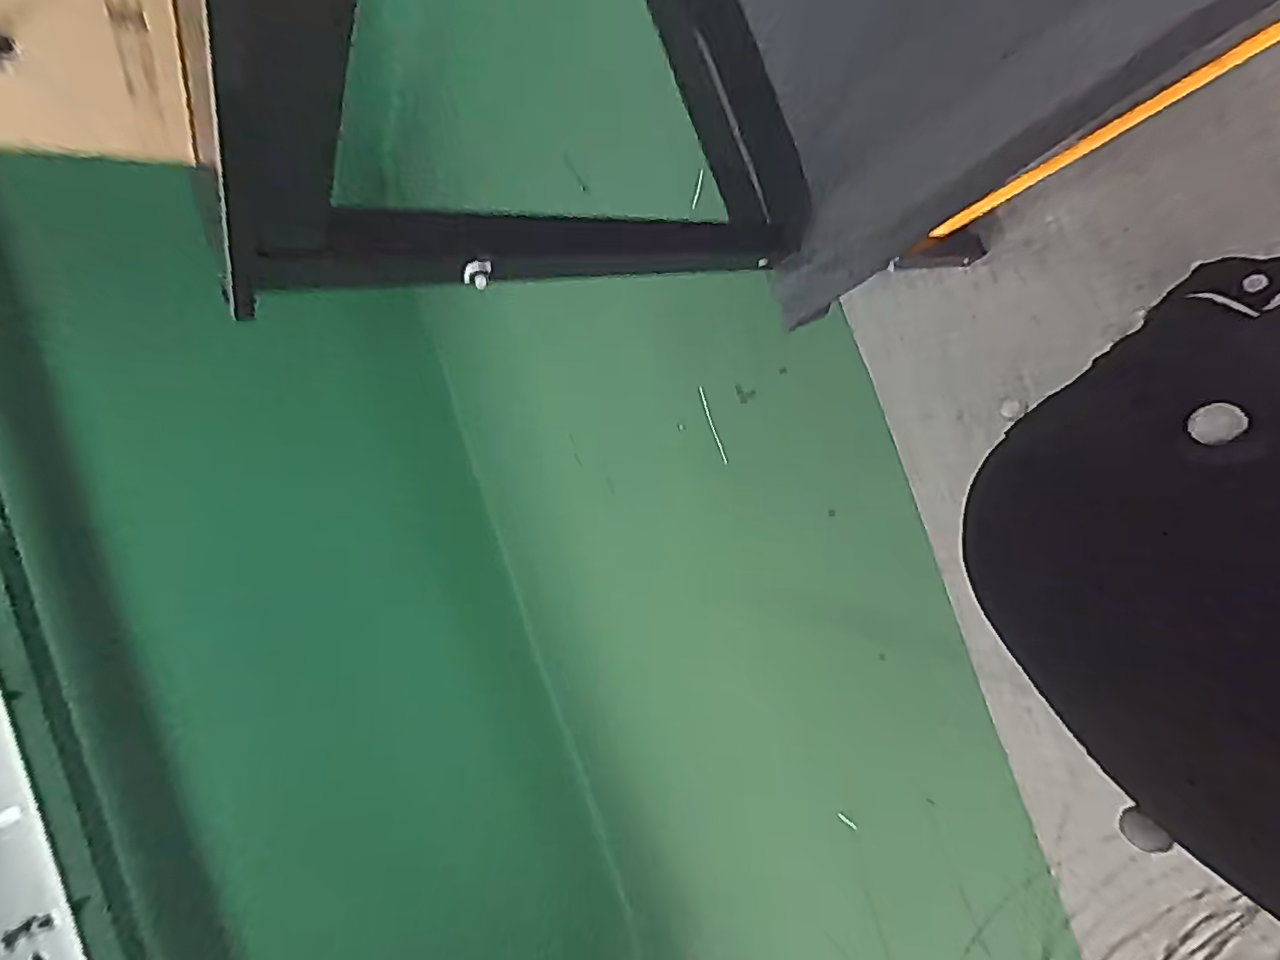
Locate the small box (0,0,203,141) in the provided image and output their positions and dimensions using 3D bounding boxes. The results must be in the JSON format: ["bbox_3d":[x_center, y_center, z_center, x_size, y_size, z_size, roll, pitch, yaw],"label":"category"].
[{"bbox_3d":[-0.343,-0.303,0.270,0.168,0.176,0.179,-23,86,52],"label":"small box"}]
